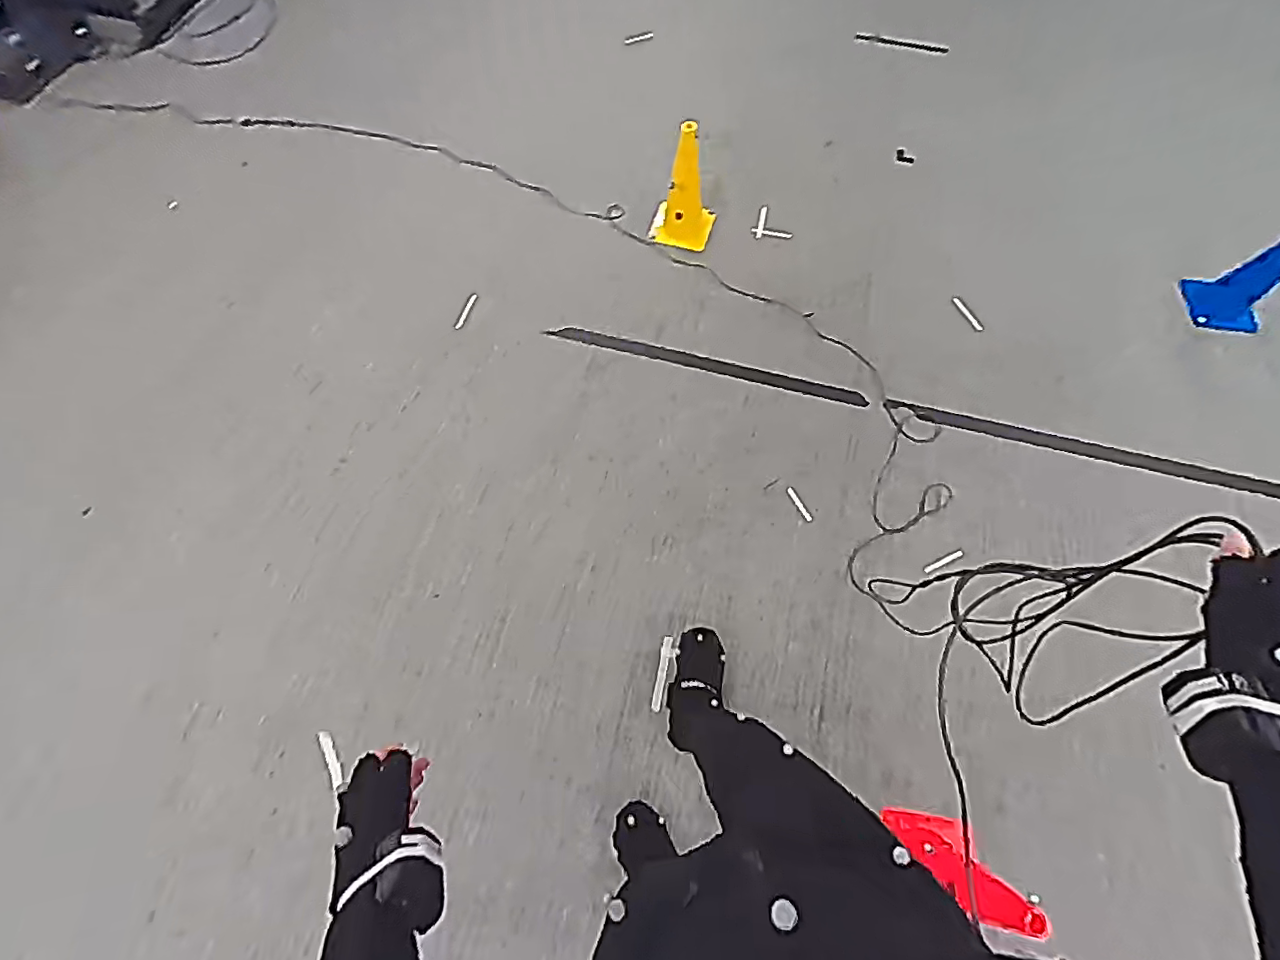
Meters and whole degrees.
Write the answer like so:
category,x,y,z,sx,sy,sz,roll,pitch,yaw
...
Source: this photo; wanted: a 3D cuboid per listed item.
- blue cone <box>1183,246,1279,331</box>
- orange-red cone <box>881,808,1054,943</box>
category,x,y,z,sx,sy,sz,roll,pitch,yaw
blue cone,1.862,-0.631,1.592,0.193,0.380,0.192,9,67,4
orange-red cone,0.617,0.754,0.988,0.199,0.360,0.198,10,67,3
